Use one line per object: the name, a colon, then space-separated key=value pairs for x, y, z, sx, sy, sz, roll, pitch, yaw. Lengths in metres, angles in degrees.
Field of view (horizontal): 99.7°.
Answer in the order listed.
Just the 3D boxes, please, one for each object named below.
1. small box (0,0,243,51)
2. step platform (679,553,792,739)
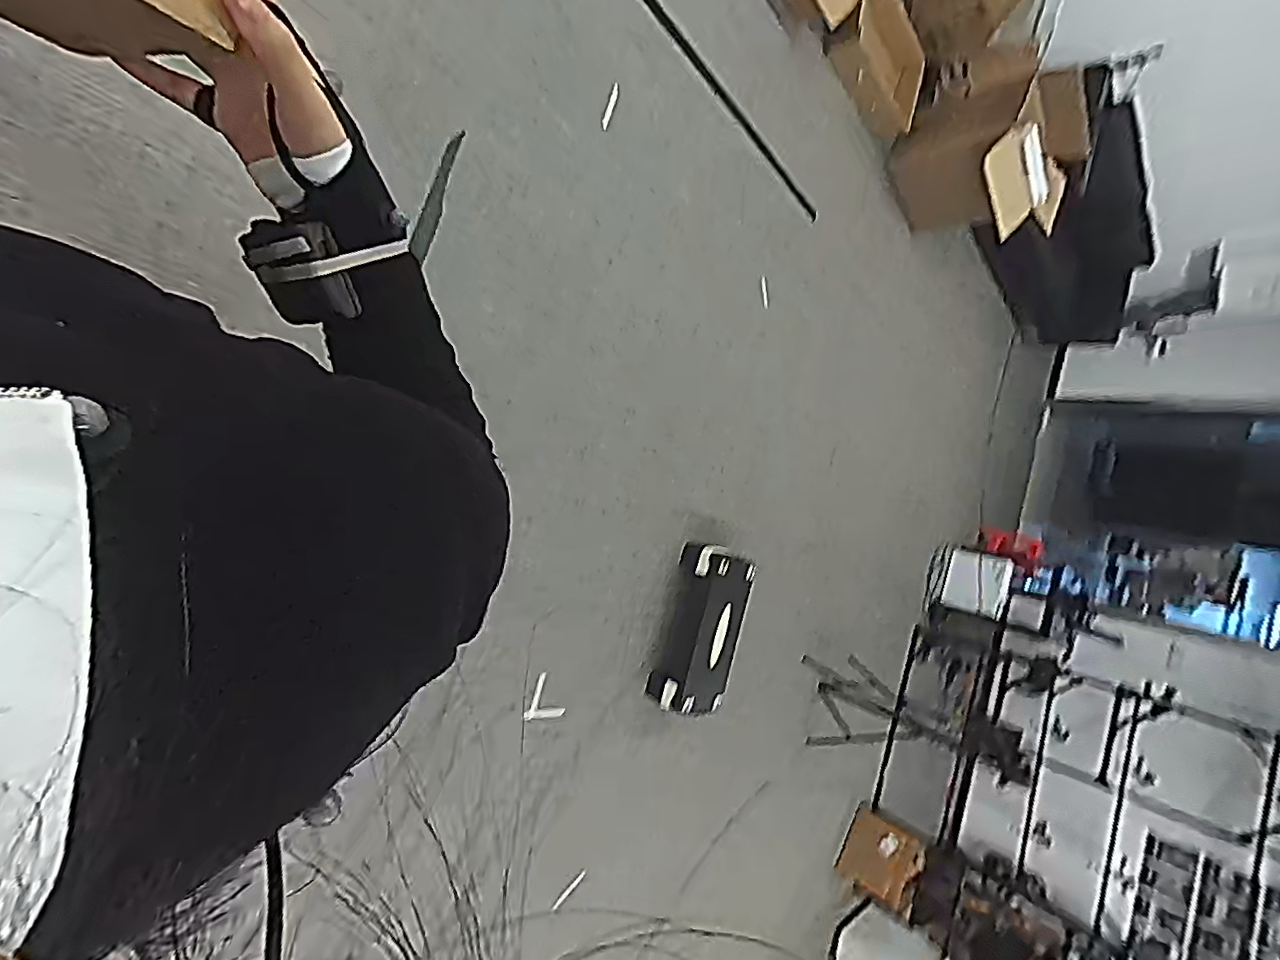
small box: x=-0.287 y=-0.305 z=0.212 sx=0.179 sy=0.176 sz=0.168 roll=-5 pitch=112 yaw=-62
step platform: x=0.378 y=0.631 z=2.123 sx=0.286 sy=0.204 sz=0.684 roll=20 pitch=85 yaw=-43
